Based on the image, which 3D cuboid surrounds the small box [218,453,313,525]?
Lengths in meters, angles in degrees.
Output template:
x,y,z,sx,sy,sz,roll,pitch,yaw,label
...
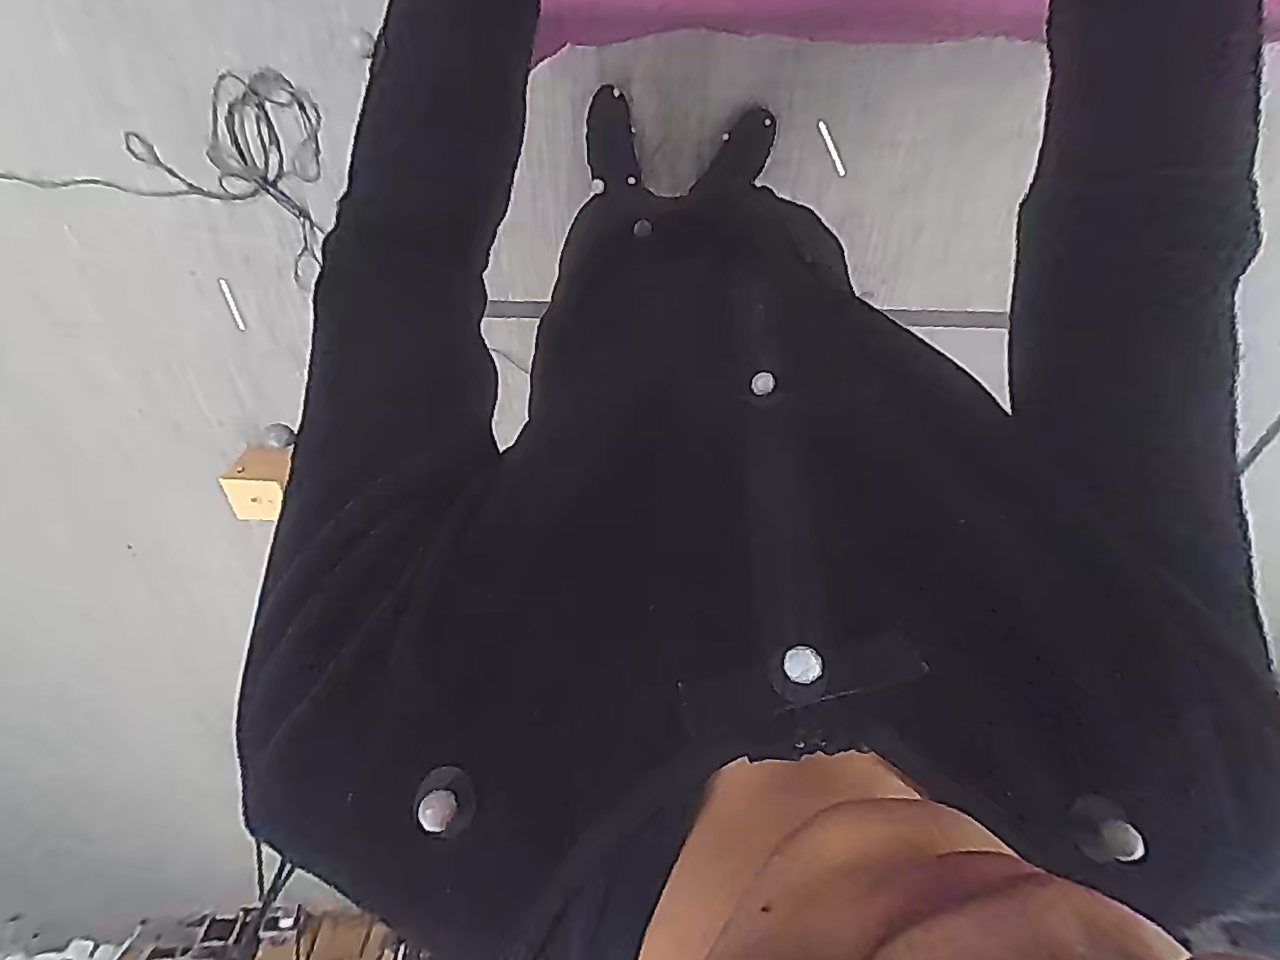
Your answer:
x,y,z,sx,sy,sz,roll,pitch,yaw,label
-1.203,0.026,1.752,0.179,0.176,0.168,3,128,-5,small box
